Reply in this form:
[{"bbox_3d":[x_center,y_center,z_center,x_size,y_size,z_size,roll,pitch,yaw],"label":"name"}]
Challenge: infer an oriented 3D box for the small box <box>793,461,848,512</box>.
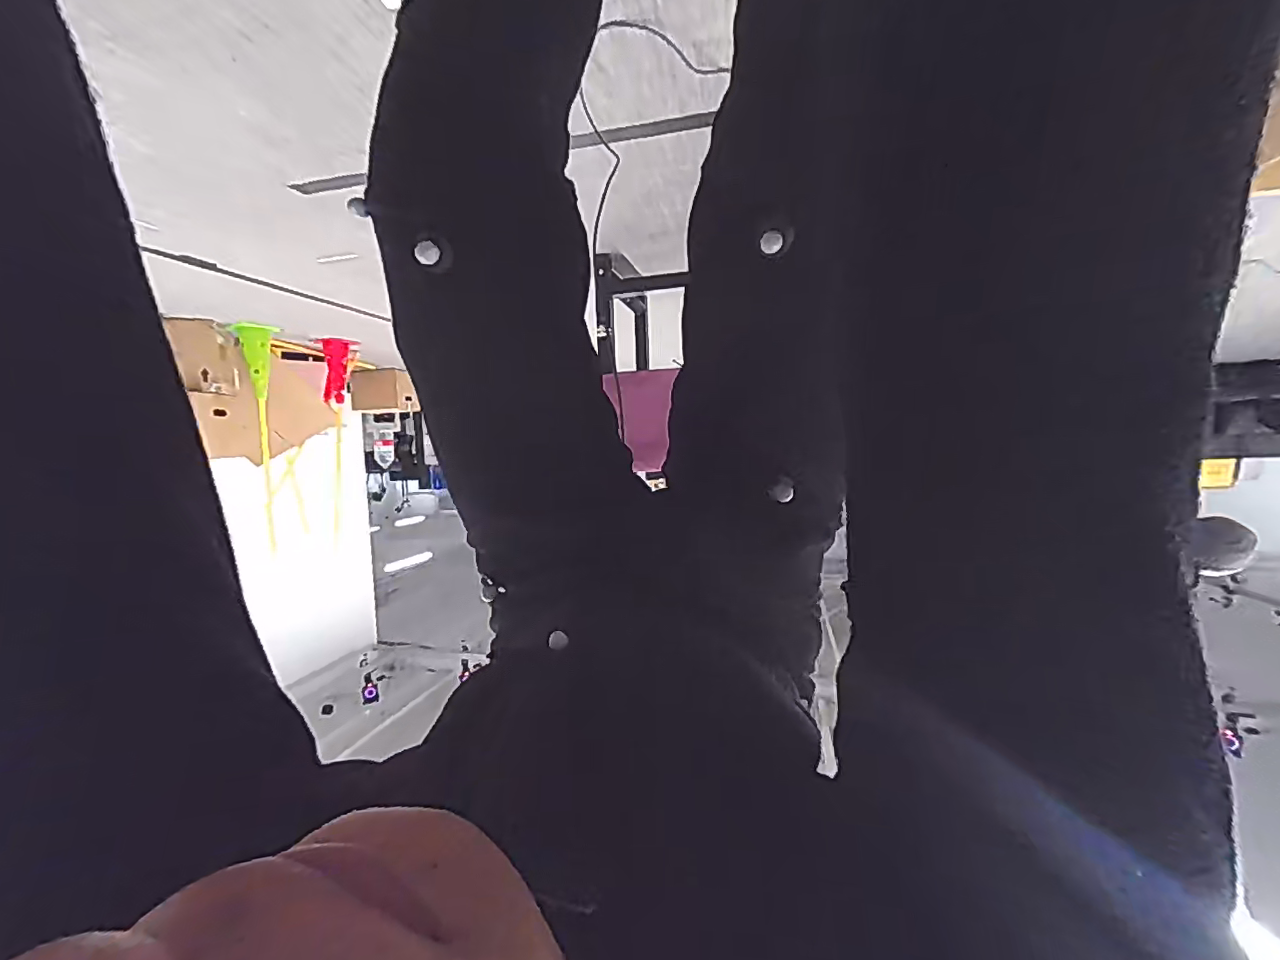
[{"bbox_3d":[0.643,0.020,1.923,0.179,0.176,0.168,0,-176,23],"label":"small box"}]
